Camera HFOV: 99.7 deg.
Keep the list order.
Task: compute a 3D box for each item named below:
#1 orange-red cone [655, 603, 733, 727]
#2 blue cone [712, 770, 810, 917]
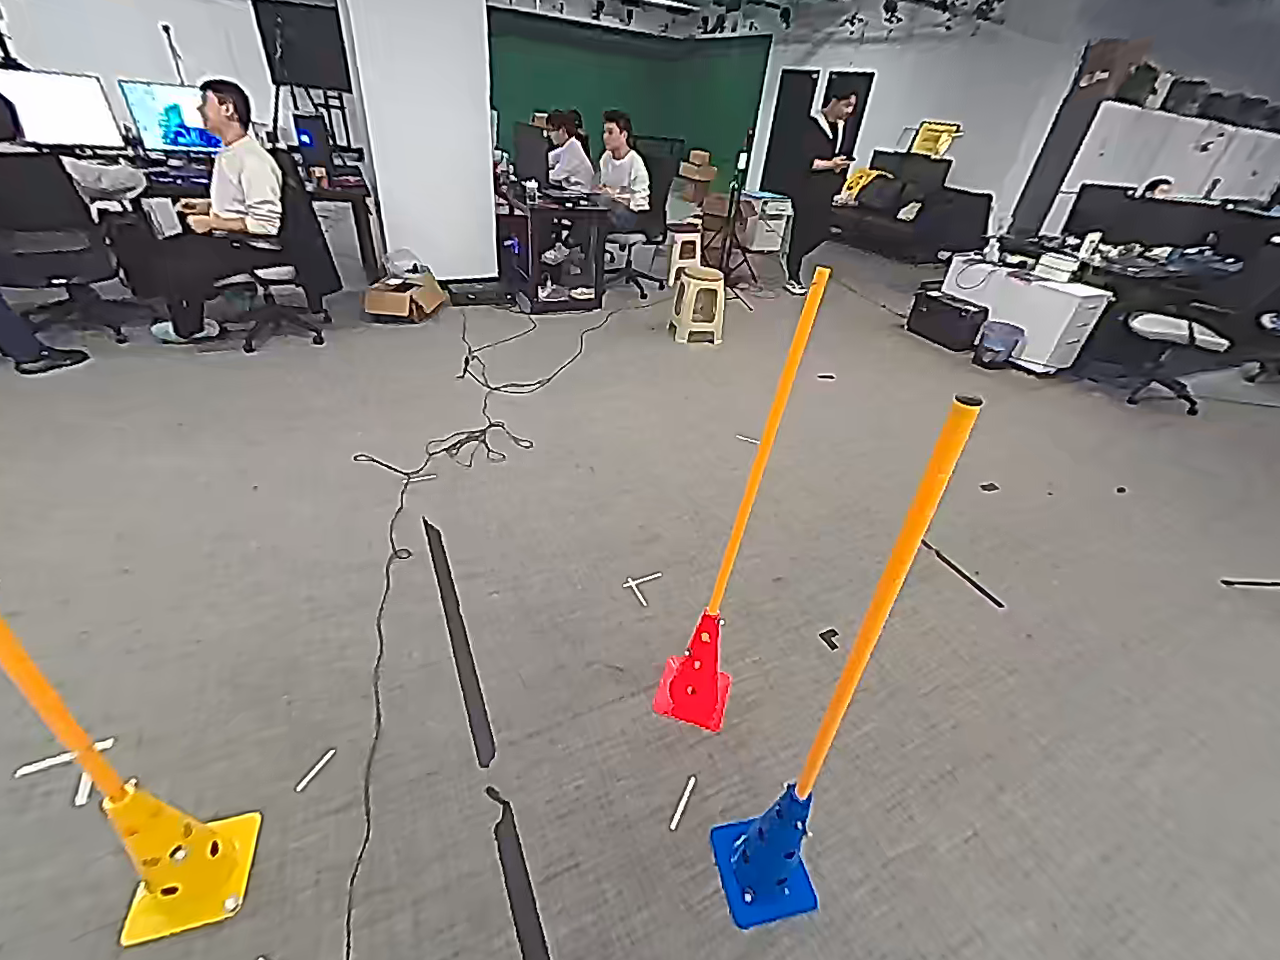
[{"bbox_3d":[0.172,0.469,1.473,0.198,0.360,0.199,15,37,14],"label":"orange-red cone"},{"bbox_3d":[0.288,0.734,1.137,0.193,0.380,0.192,-2,35,-11],"label":"blue cone"}]
